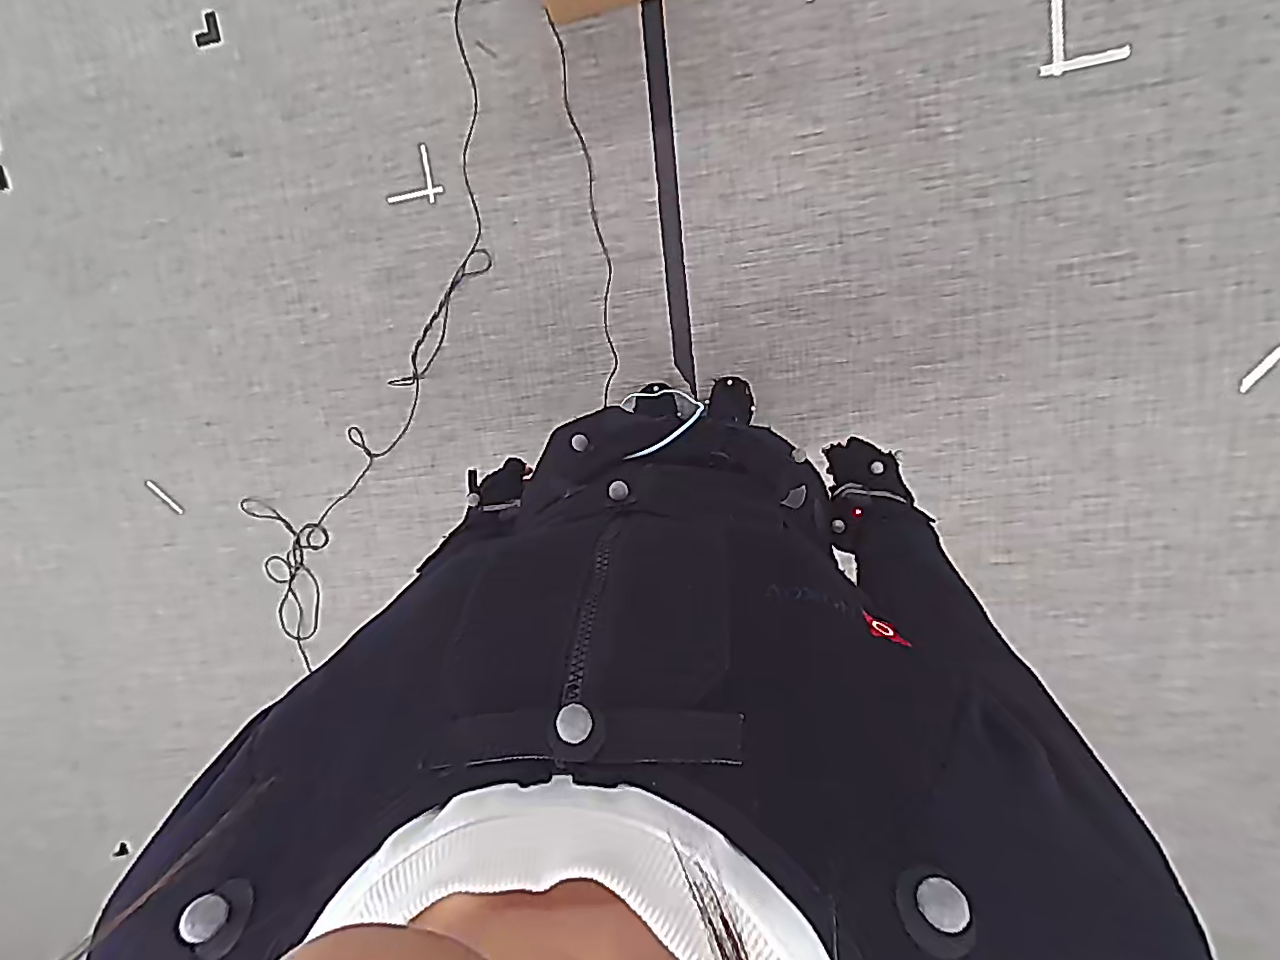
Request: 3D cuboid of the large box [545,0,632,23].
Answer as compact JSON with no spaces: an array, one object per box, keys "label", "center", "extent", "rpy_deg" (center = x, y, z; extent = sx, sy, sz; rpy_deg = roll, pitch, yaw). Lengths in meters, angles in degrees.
[{"label":"large box","center":[-0.056,-1.226,1.080],"extent":[0.408,0.320,0.320],"rpy_deg":[-10,101,8]}]
